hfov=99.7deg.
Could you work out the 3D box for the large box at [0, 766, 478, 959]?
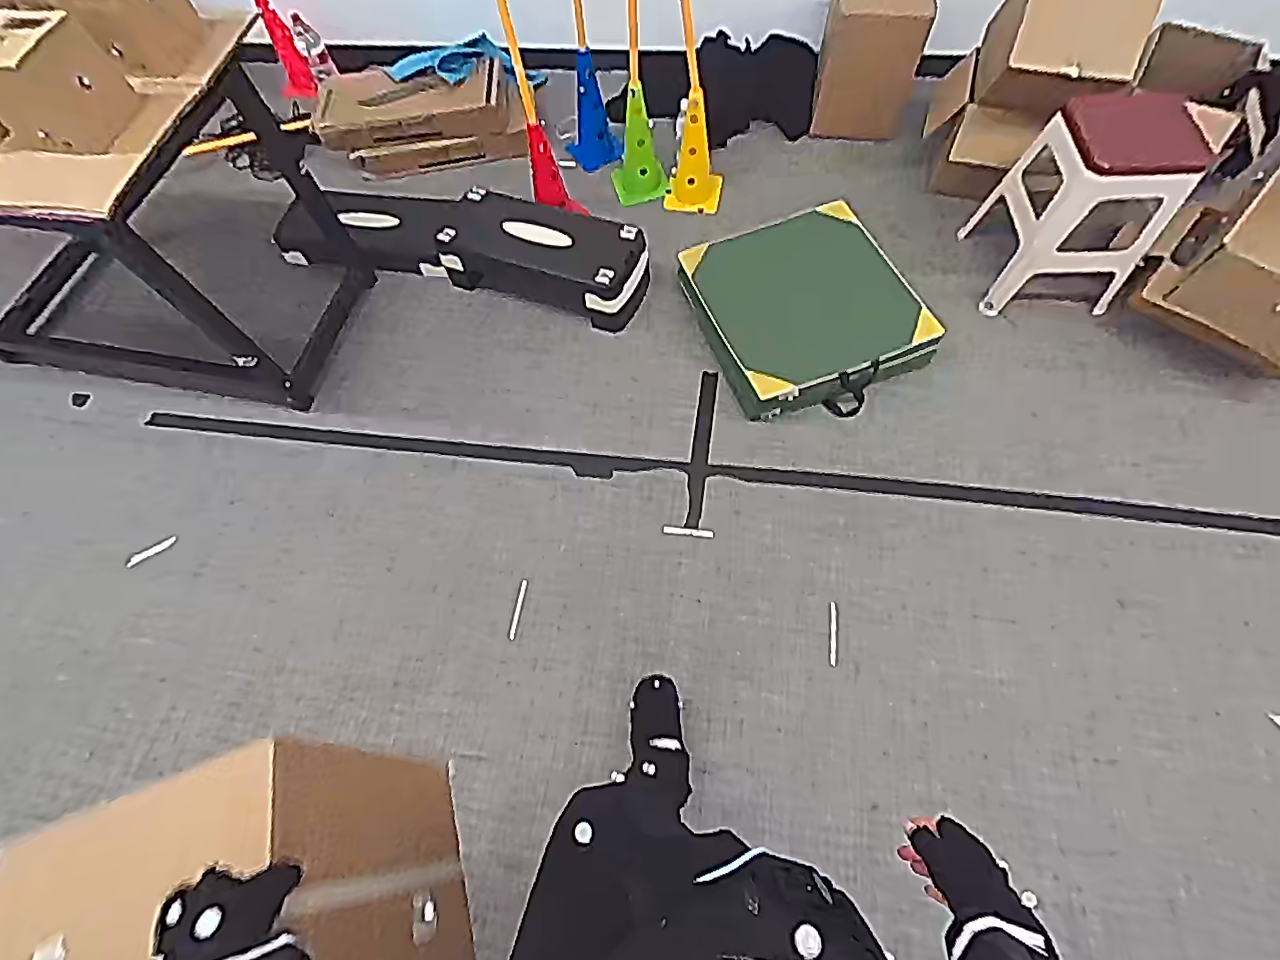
[{"bbox_3d":[-0.444,0.590,0.661,0.320,0.408,0.320,-23,55,-3],"label":"large box"}]
